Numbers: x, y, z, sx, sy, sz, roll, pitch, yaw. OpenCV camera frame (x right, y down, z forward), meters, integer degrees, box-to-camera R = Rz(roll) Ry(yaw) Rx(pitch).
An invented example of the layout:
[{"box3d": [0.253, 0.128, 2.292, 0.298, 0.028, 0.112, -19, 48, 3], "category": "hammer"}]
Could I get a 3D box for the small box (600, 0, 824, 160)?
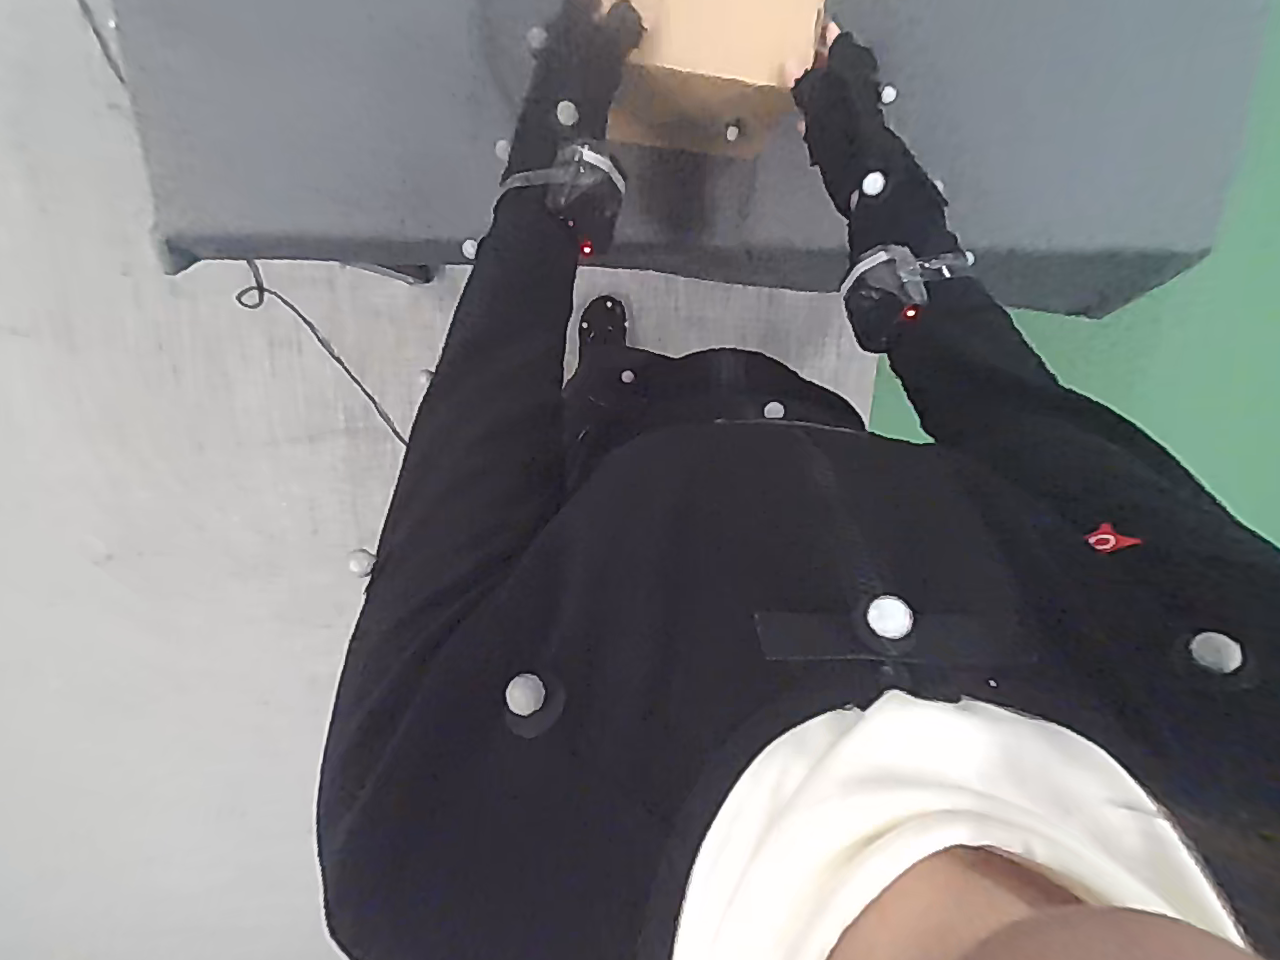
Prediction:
[{"box3d": [0.056, -0.418, 0.499, 0.179, 0.176, 0.168, 4, 102, -5], "category": "small box"}]
